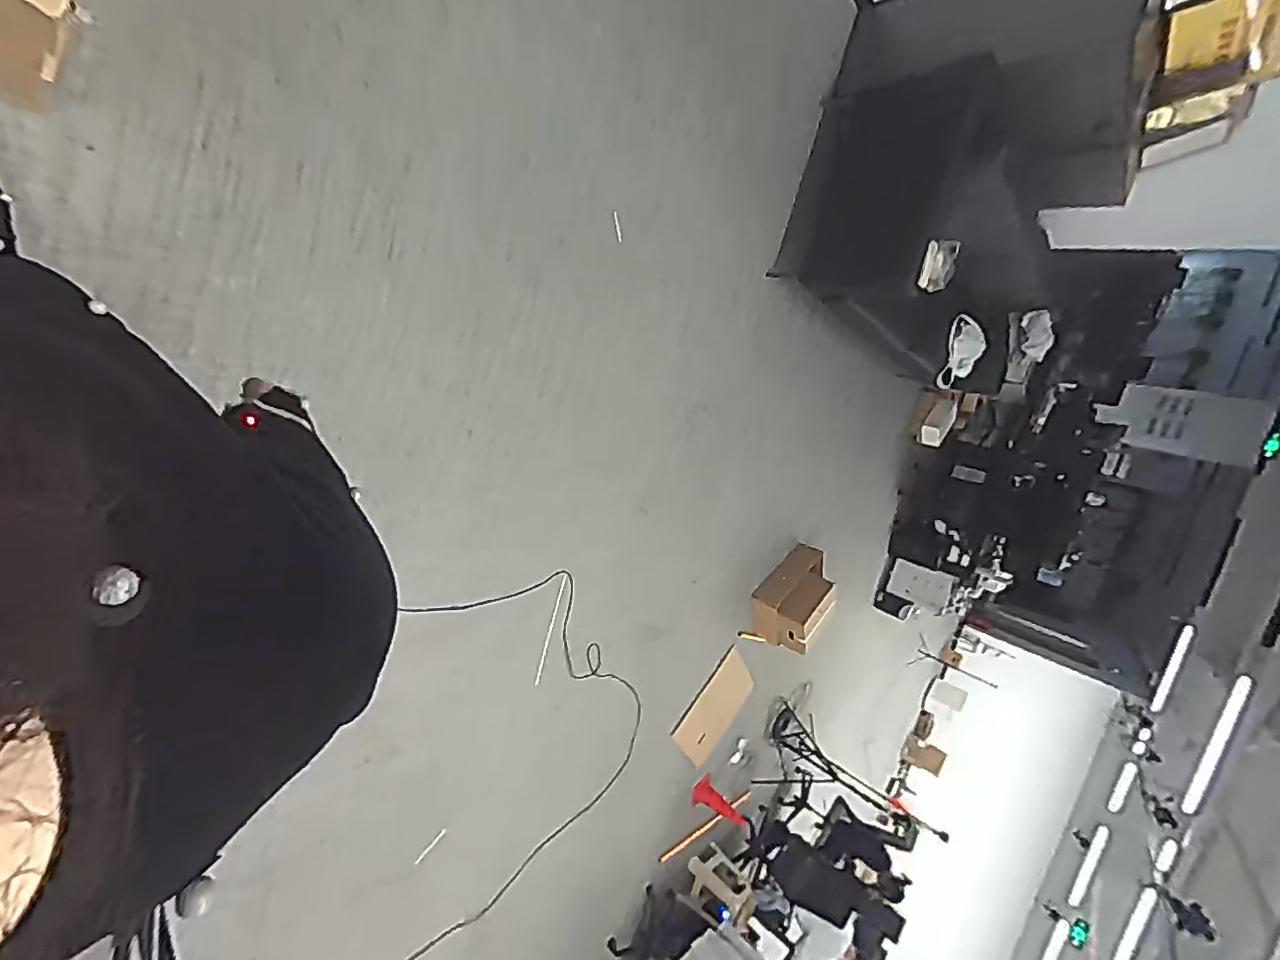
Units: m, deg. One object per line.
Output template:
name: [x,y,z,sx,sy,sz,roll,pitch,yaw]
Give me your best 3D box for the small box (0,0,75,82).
small box: [-0.768,-0.609,0.617,0.168,0.176,0.179,16,91,-50]
